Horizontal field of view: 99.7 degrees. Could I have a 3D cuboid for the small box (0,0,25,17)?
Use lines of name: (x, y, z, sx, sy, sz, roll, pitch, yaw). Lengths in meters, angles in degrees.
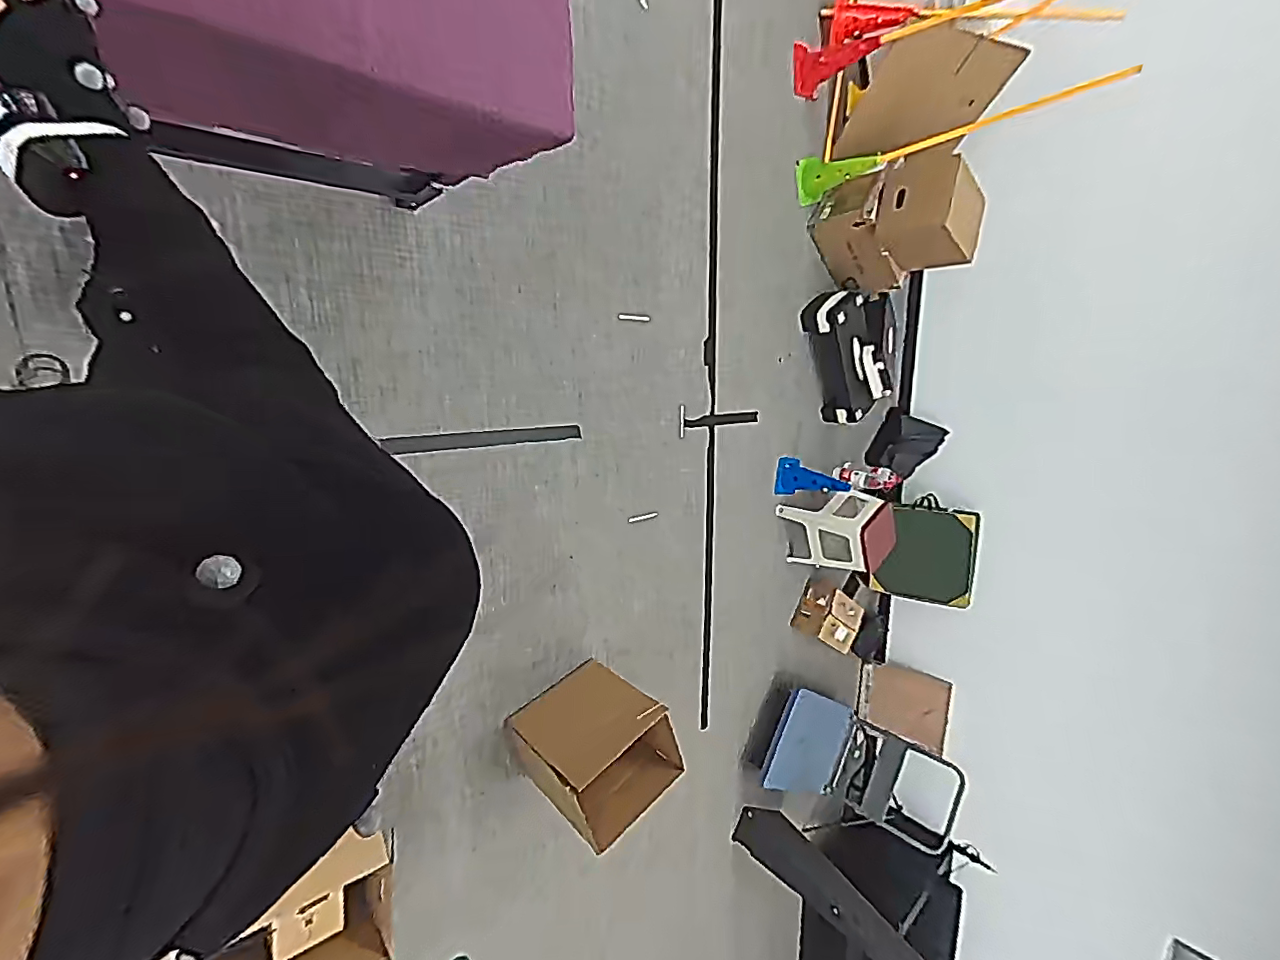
small box: (-0.556, -0.446, 0.355, 0.179, 0.176, 0.168, -11, 120, -43)
